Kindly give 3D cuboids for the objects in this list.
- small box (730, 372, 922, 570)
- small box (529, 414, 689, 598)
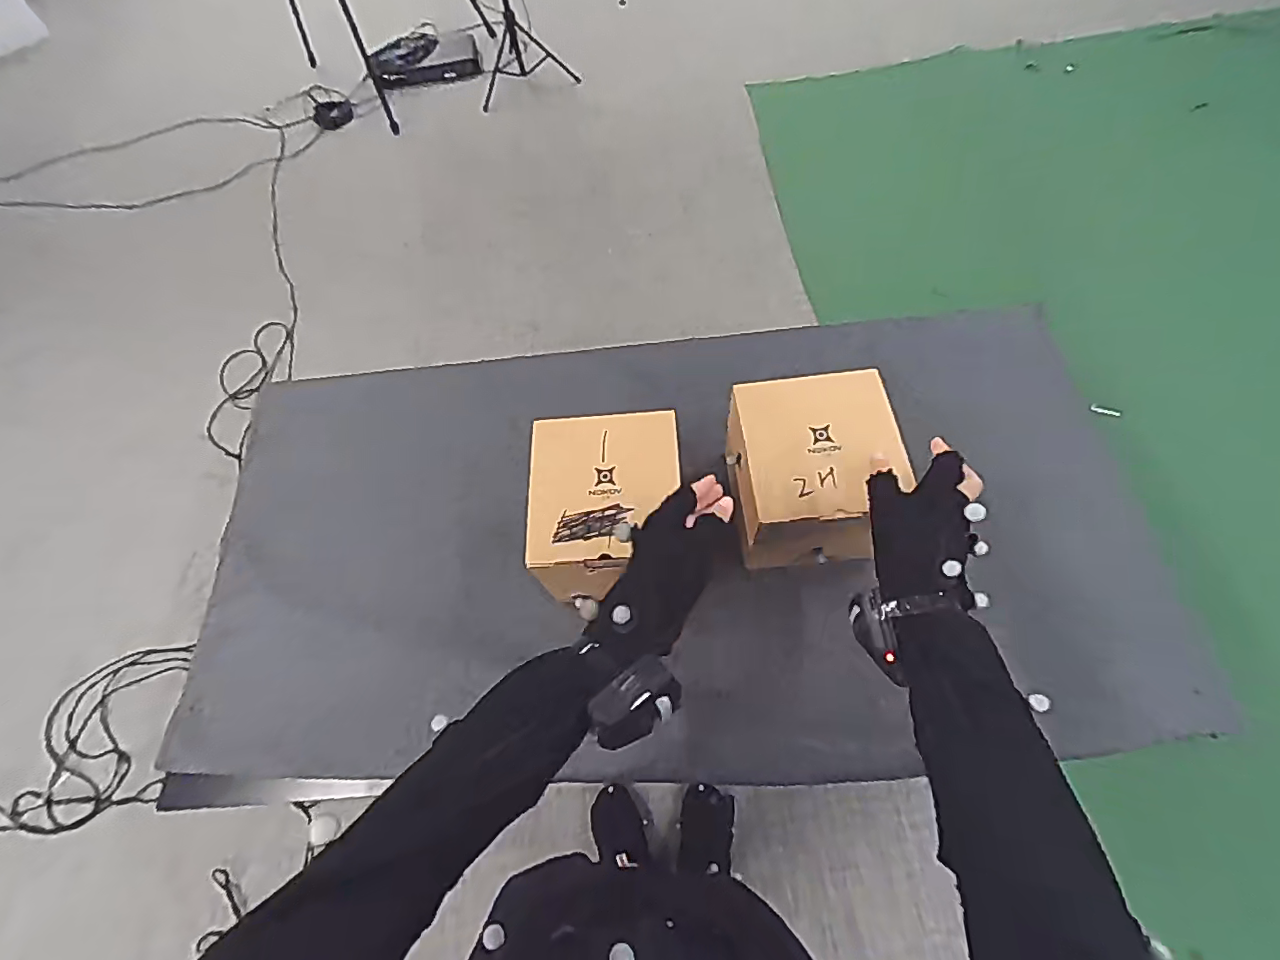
[{"bbox_3d":[0.204,-0.004,0.654,0.168,0.176,0.179,-7,64,4],"label":"small box"},{"bbox_3d":[-0.028,0.041,0.656,0.168,0.176,0.179,-4,64,4],"label":"small box"}]
